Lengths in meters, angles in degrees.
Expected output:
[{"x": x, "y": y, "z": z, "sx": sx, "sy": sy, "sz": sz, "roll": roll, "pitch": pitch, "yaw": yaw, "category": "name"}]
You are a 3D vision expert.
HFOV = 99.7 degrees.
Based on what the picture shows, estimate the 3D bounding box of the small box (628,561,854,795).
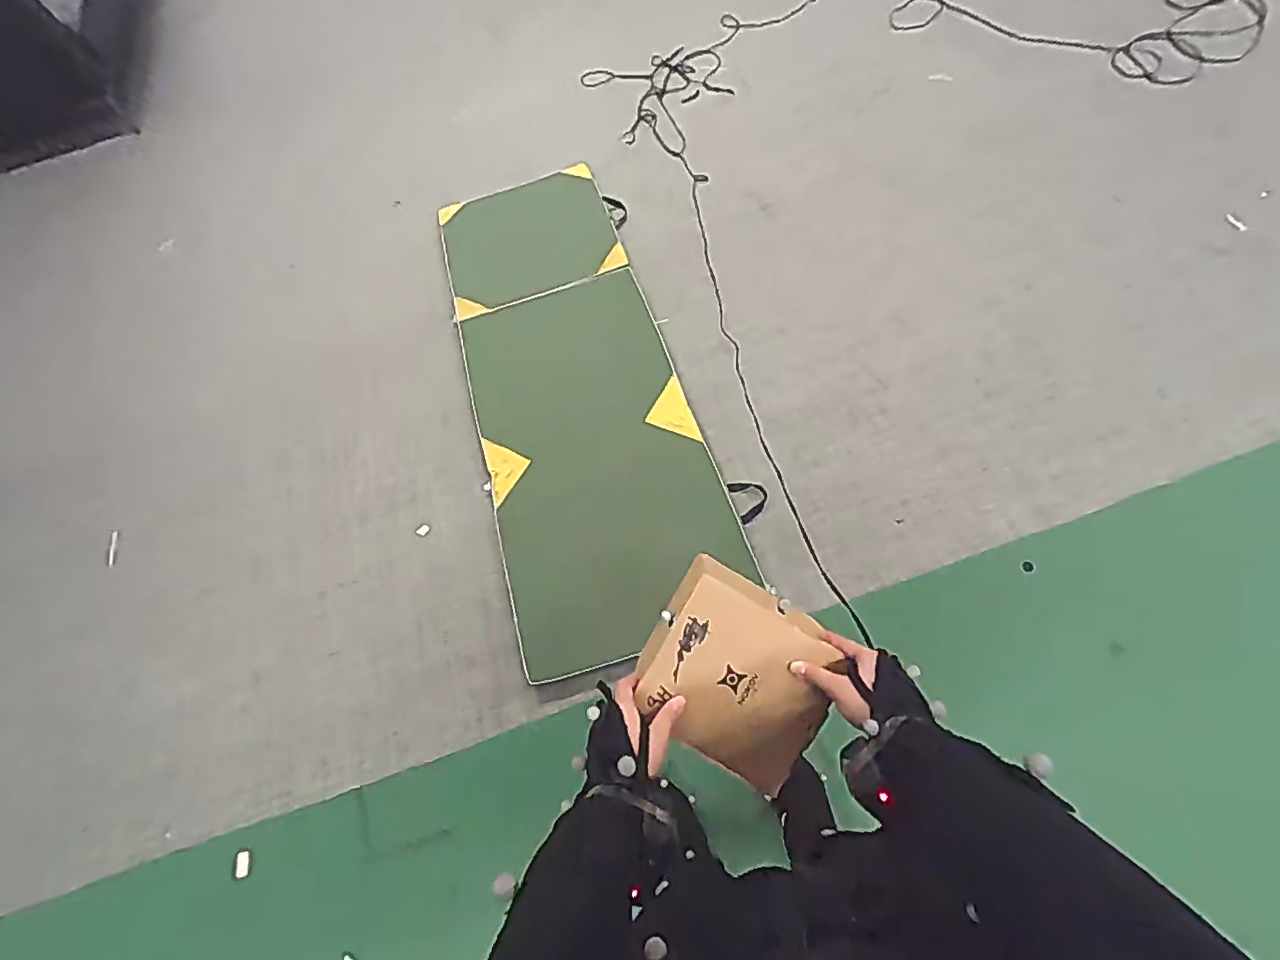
[{"x": 0.108, "y": 0.208, "z": 0.629, "sx": 0.179, "sy": 0.176, "sz": 0.168, "roll": 30, "pitch": 91, "yaw": 5, "category": "small box"}]
